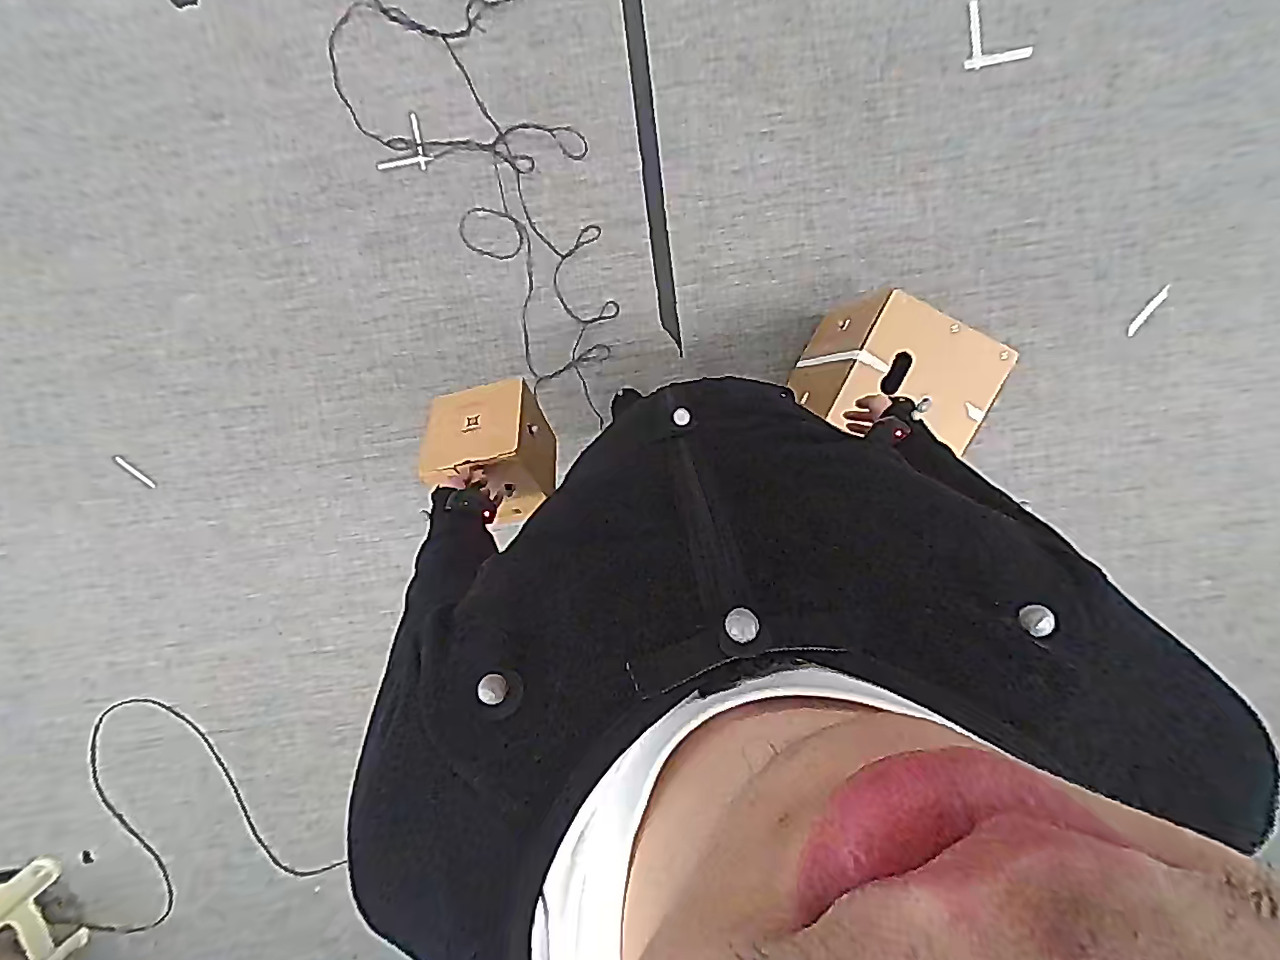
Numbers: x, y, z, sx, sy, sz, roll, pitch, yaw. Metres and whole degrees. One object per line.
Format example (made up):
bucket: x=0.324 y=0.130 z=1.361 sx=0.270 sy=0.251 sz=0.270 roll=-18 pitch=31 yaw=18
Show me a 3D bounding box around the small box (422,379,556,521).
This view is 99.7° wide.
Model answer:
small box: x=-0.252 y=-0.043 z=0.946 sx=0.168 sy=0.179 sz=0.176 roll=-12 pitch=140 yaw=7
